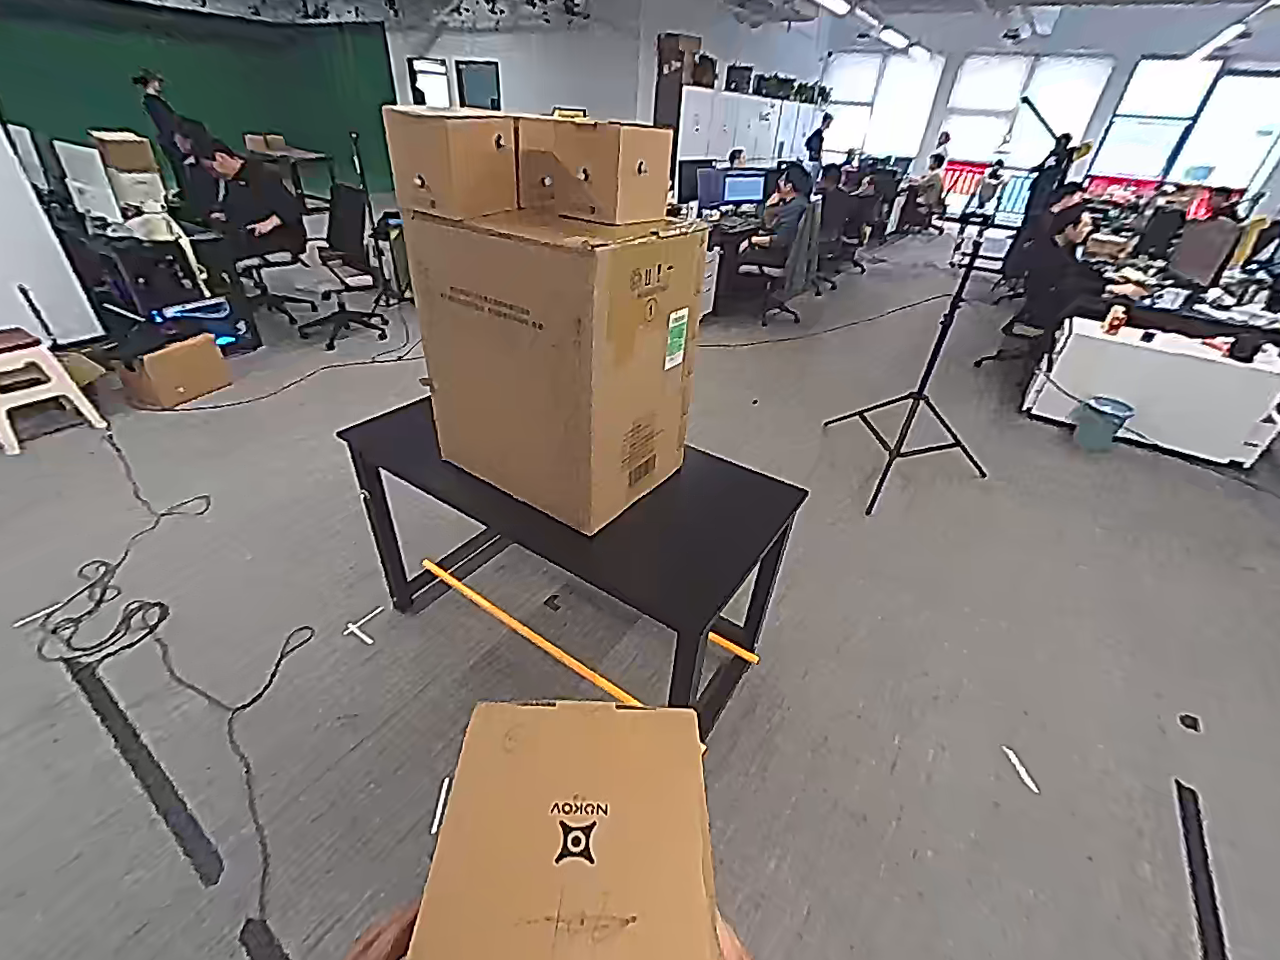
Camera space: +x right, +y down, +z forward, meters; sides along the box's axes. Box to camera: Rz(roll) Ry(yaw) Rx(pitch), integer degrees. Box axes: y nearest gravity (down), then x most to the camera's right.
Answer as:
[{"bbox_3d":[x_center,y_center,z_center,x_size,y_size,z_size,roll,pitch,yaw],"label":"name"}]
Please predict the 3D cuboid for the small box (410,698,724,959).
[{"bbox_3d":[-0.043,0.280,0.374,0.168,0.176,0.179,3,35,-3],"label":"small box"}]
